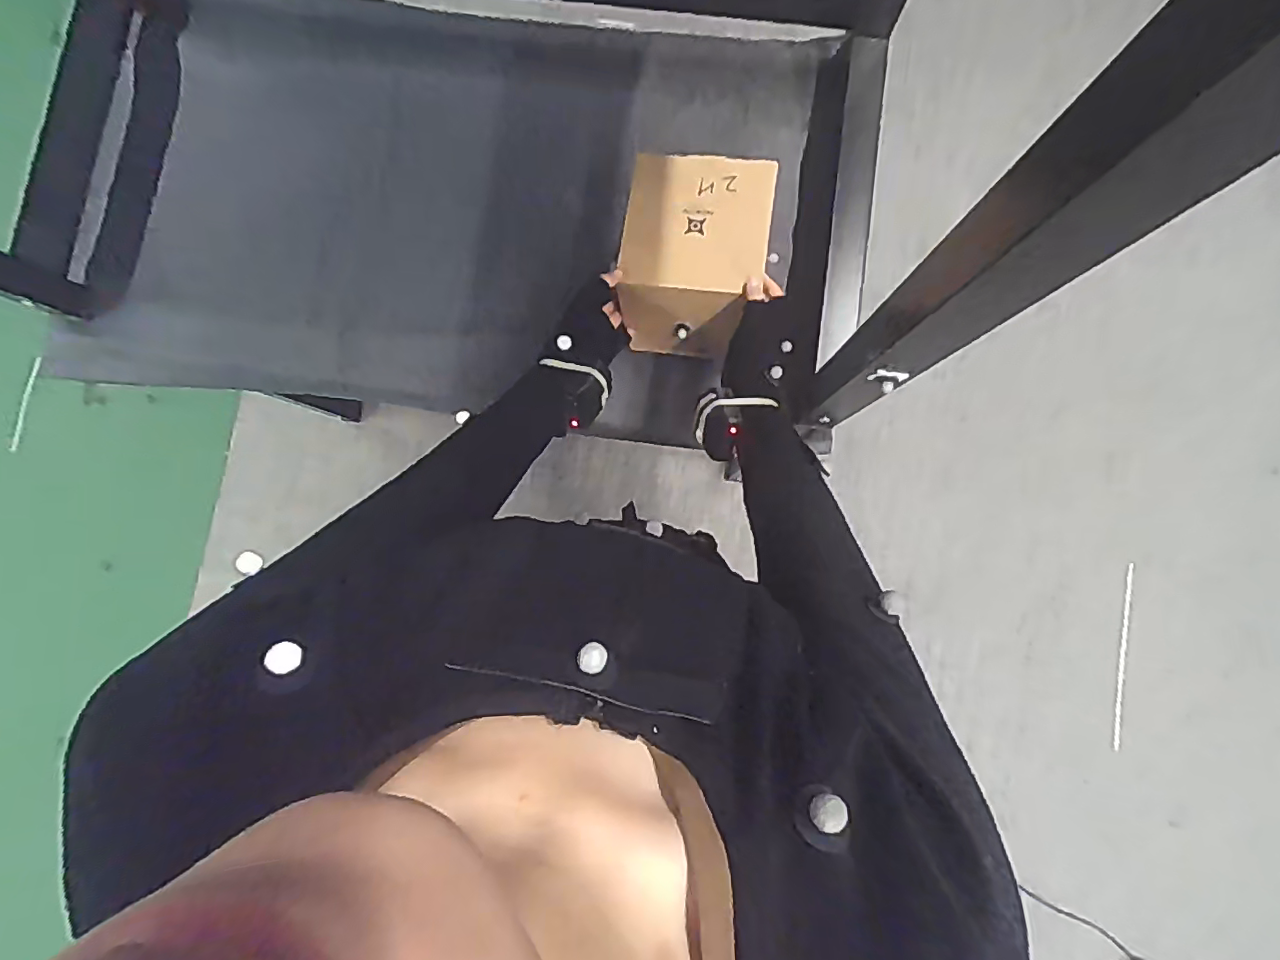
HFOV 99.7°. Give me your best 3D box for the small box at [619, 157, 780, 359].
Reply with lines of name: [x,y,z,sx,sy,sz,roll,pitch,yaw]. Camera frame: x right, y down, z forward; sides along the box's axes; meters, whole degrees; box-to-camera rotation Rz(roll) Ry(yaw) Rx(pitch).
small box: [0.077,-0.273,0.693,0.168,0.176,0.179,8,77,7]
